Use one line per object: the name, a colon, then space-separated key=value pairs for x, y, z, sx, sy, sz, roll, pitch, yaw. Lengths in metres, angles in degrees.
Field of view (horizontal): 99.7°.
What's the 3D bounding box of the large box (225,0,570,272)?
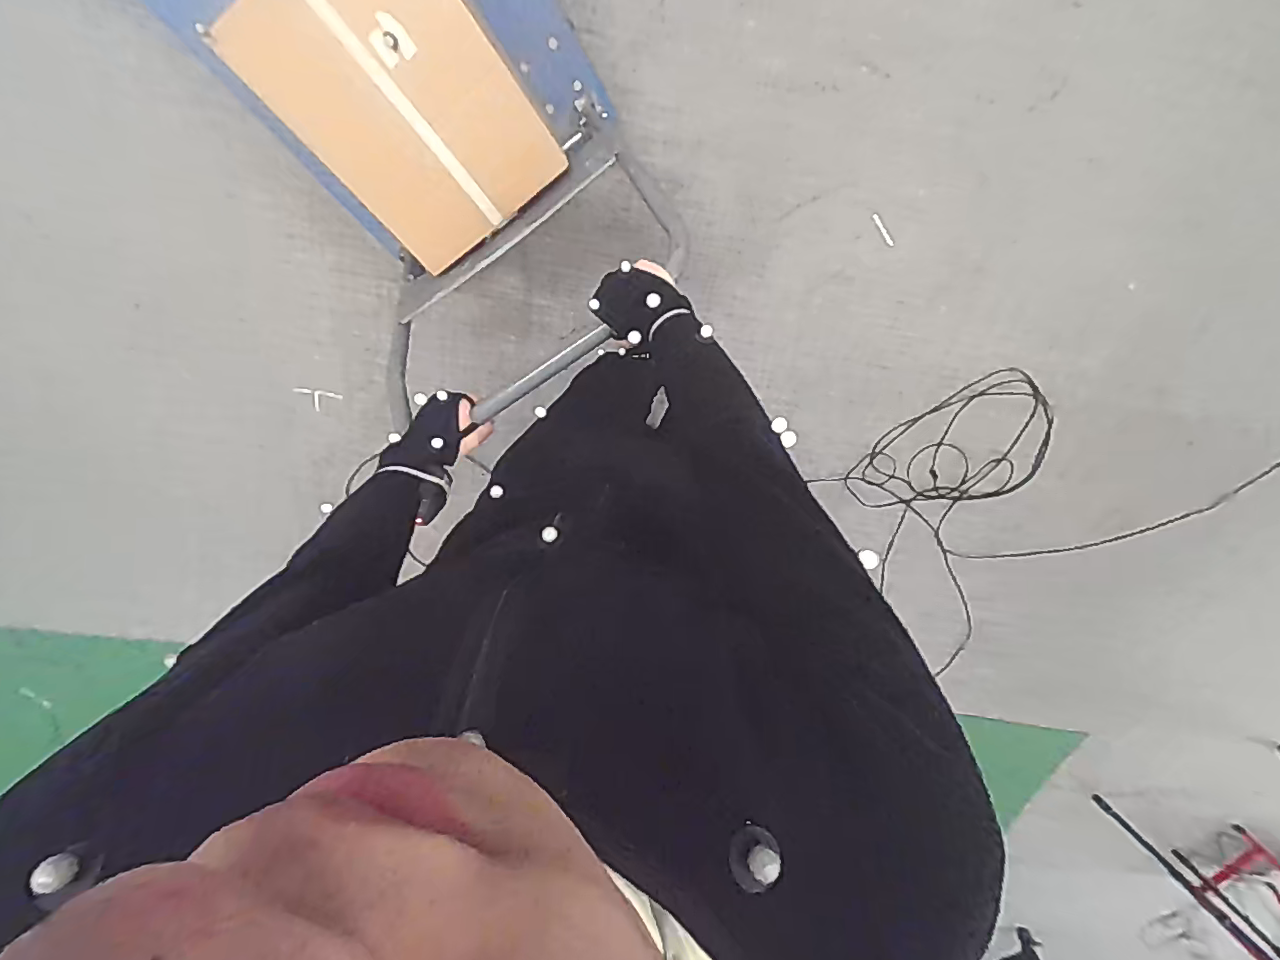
large box: x=-0.372 y=-0.662 z=0.945 sx=0.320 sy=0.320 sz=0.408 roll=-32 pitch=130 yaw=14
